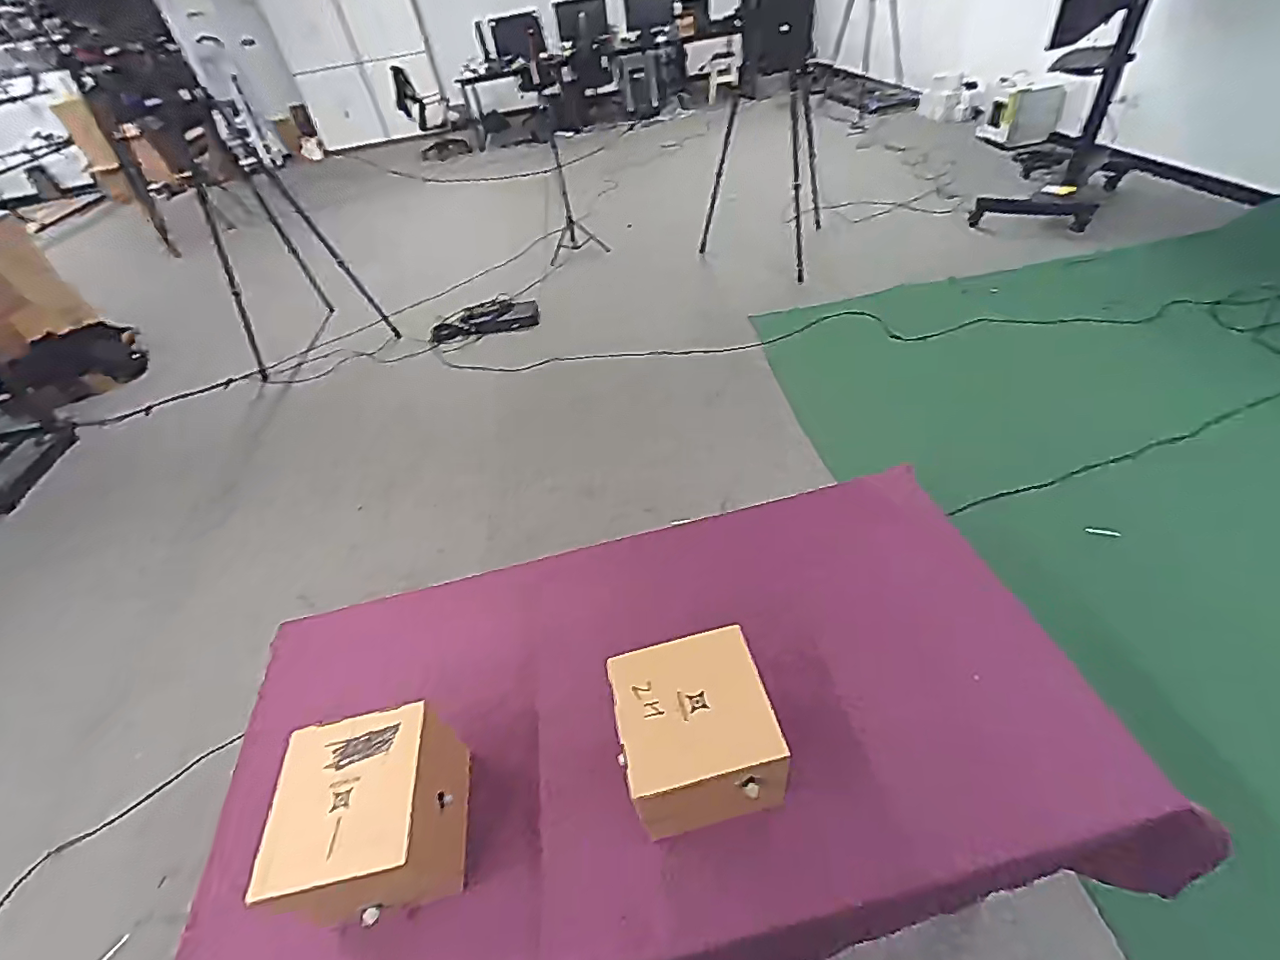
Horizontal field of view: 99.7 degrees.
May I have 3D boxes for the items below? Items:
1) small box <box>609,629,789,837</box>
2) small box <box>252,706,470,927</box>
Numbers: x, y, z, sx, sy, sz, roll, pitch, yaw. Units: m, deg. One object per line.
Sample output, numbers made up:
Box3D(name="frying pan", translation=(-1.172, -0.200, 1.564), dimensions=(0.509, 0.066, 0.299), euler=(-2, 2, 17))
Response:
Box3D(name="small box", translation=(0.070, 0.319, 0.683), dimensions=(0.179, 0.176, 0.168), euler=(-14, 43, -3))
Box3D(name="small box", translation=(-0.318, 0.413, 0.665), dimensions=(0.168, 0.176, 0.179), euler=(-13, 44, -2))
